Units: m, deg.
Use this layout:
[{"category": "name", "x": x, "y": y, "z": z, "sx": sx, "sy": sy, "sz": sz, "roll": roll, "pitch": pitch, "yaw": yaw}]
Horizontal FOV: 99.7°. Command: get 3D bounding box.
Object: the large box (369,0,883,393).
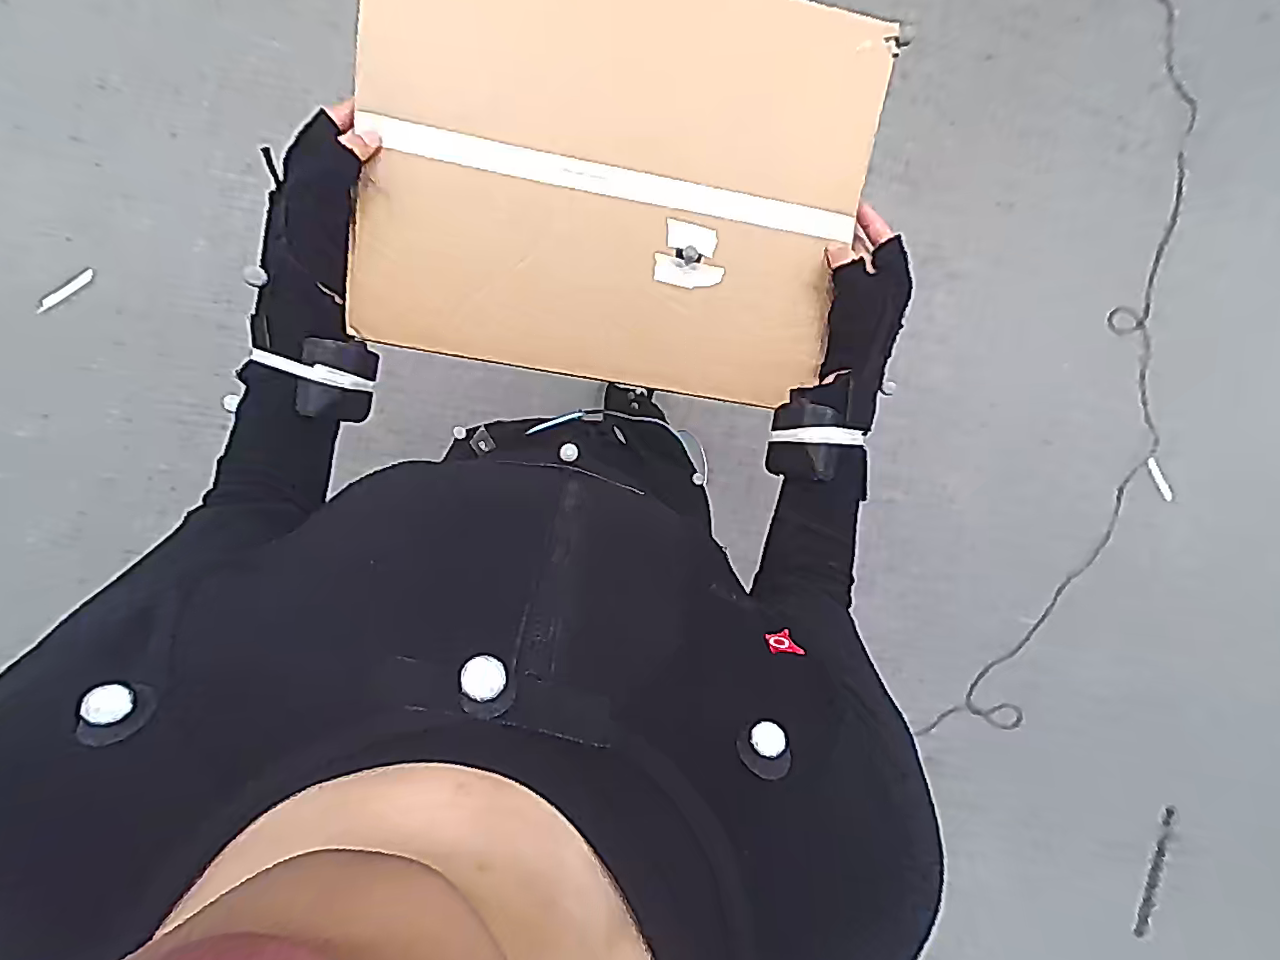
[{"category": "large box", "x": -0.031, "y": -0.284, "z": 0.594, "sx": 0.408, "sy": 0.320, "sz": 0.320, "roll": 7, "pitch": 103, "yaw": -8}]
